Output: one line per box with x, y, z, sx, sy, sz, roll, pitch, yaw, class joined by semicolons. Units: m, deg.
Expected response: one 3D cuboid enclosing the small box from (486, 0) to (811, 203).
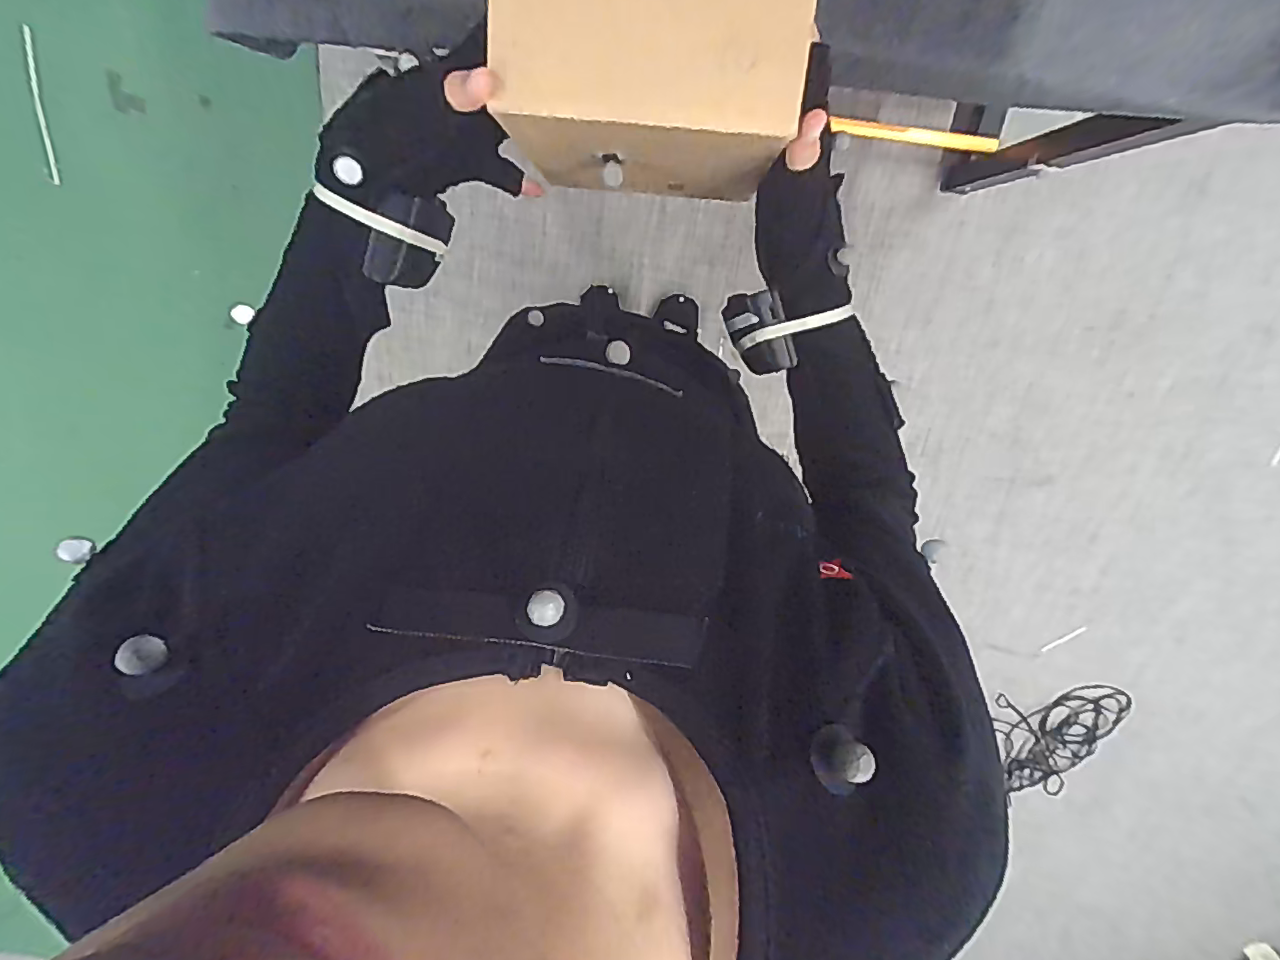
0.012;-0.290;0.340;0.168;0.176;0.179;5;104;2;small box
